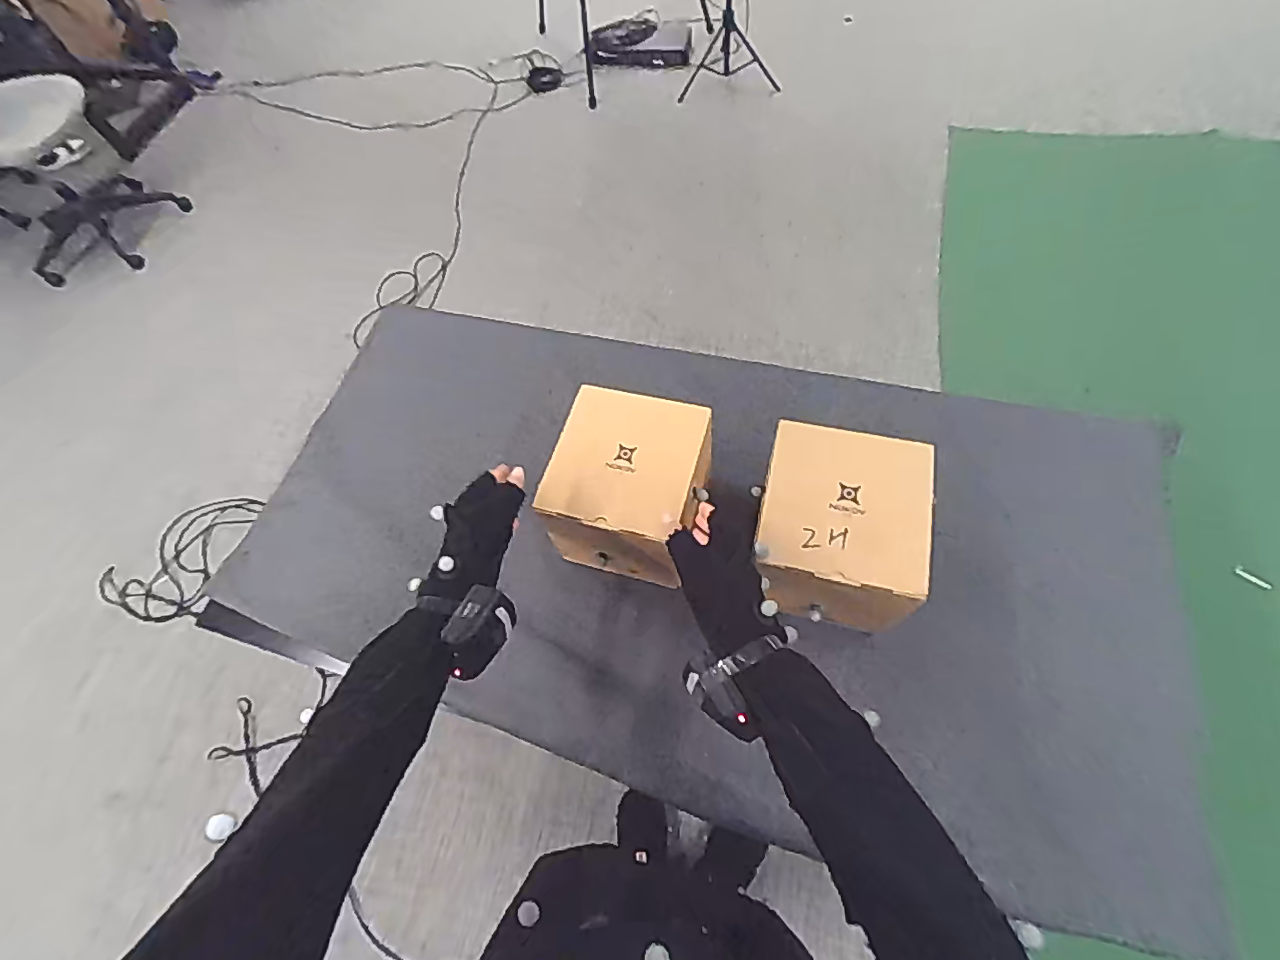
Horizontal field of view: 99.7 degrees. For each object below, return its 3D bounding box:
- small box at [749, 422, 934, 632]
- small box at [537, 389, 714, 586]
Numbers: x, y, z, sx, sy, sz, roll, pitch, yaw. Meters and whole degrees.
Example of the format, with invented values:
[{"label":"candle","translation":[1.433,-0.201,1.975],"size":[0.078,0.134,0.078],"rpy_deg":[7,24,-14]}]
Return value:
[{"label":"small box","translation":[0.225,0.060,0.633],"size":[0.168,0.176,0.179],"rpy_deg":[11,65,13]},{"label":"small box","translation":[-0.006,0.014,0.688],"size":[0.168,0.176,0.179],"rpy_deg":[12,65,14]}]
